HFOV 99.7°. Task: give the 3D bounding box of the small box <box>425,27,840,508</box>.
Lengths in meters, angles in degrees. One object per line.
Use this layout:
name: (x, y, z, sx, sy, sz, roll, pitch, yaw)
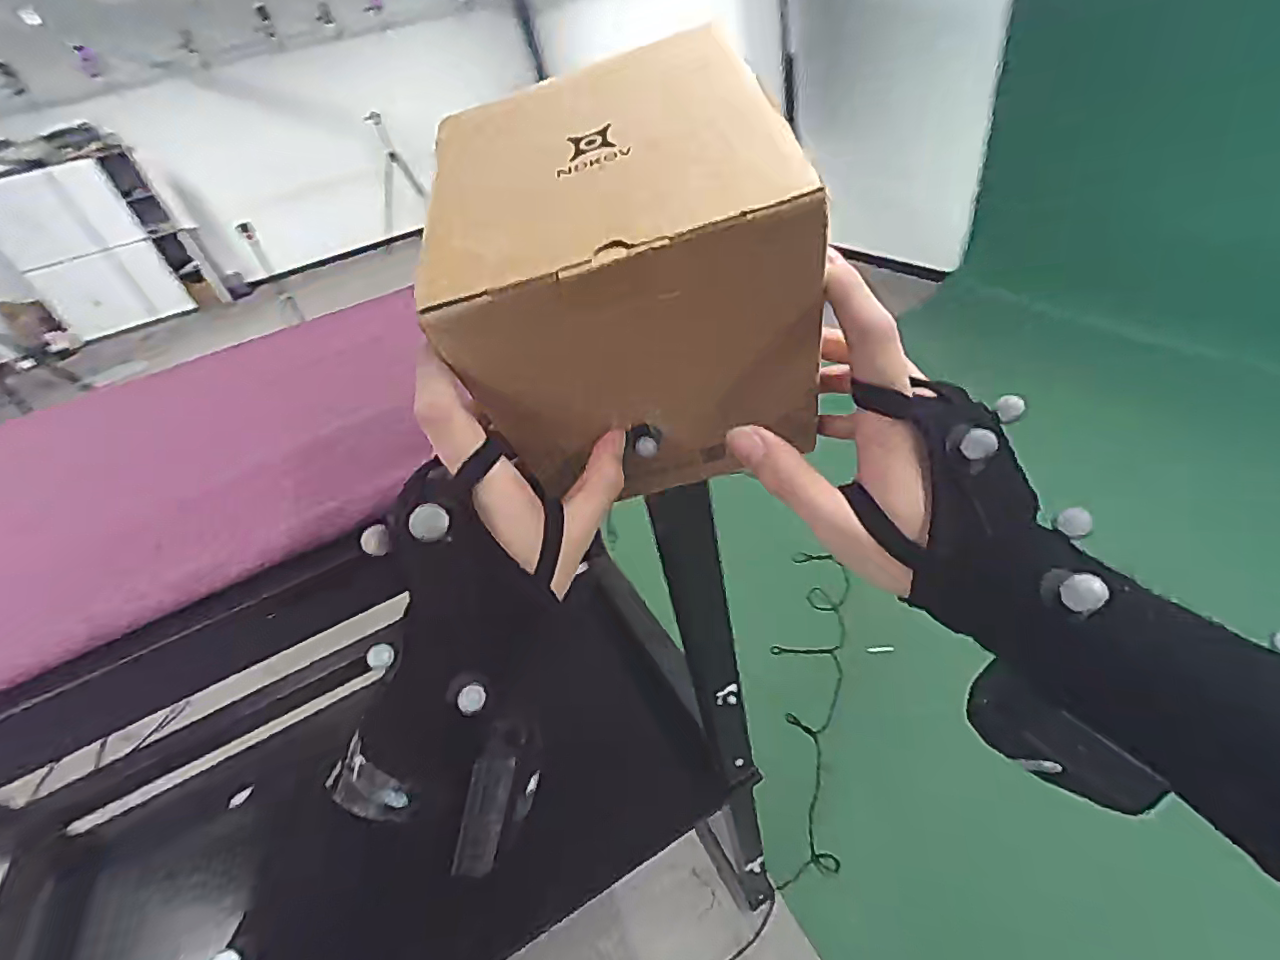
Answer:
small box: (0.001, -0.109, 0.315, 0.168, 0.176, 0.179, -14, 57, 7)
